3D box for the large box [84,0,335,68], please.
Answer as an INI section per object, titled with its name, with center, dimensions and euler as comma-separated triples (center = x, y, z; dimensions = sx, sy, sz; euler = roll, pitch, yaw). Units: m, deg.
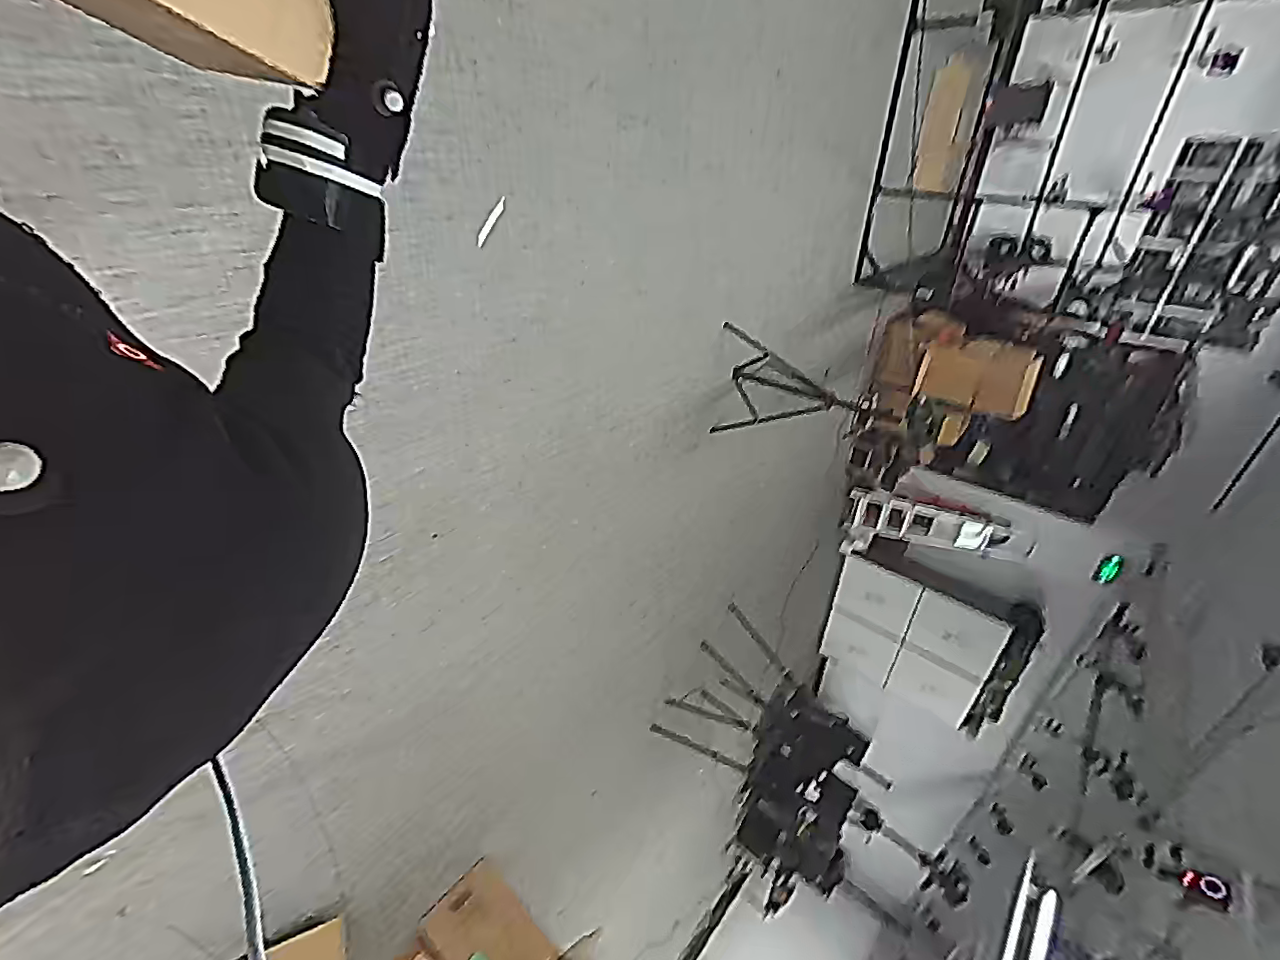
[large box]
center = -0.396, -0.484, 0.256
dimensions = 0.408, 0.320, 0.320
euler = -1, 119, -54
